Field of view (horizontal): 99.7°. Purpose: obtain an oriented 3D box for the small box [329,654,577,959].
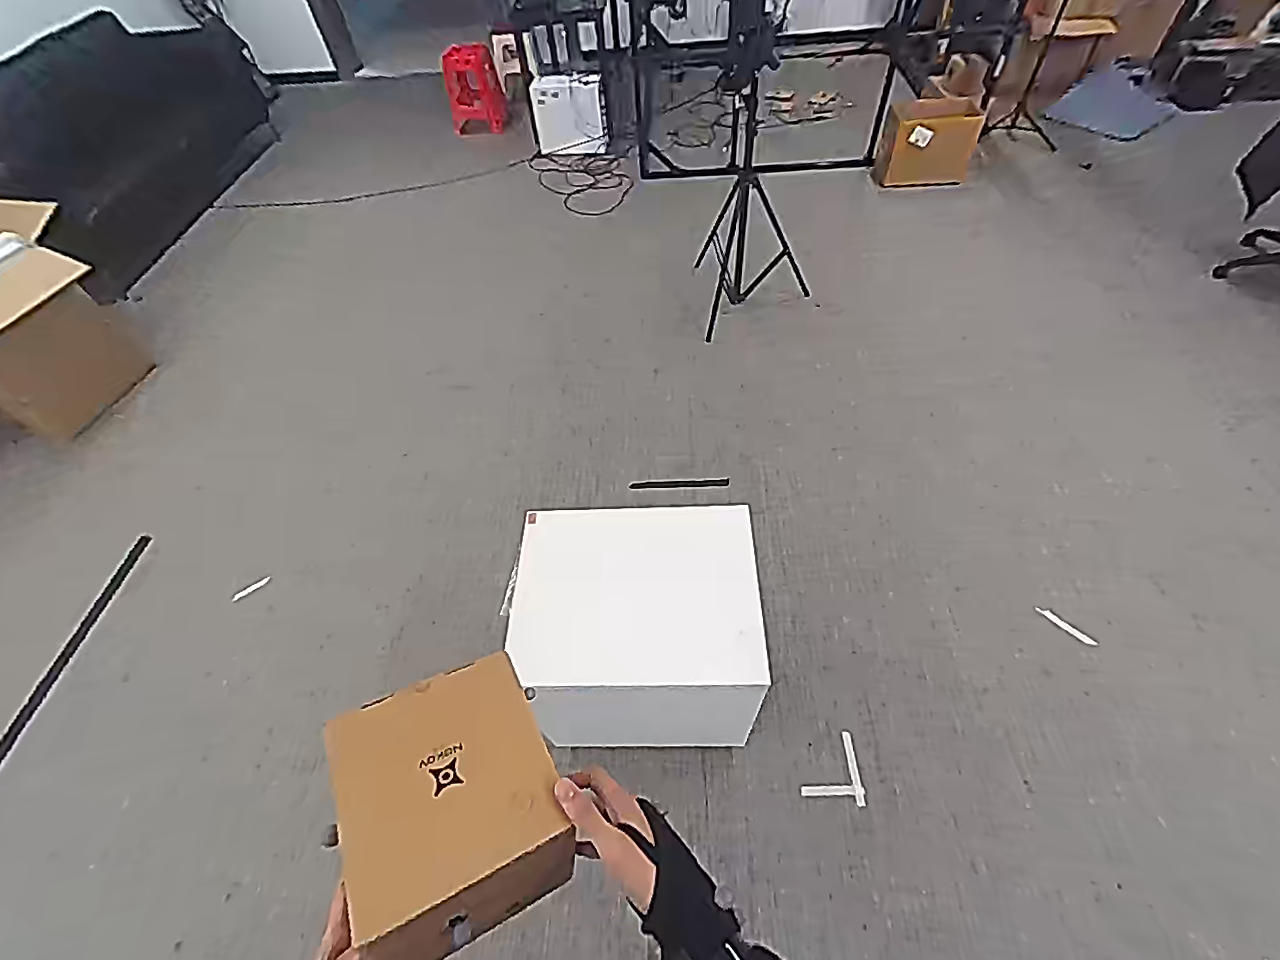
[{"bbox_3d":[-0.165,0.304,0.498,0.168,0.176,0.179,-16,45,-25],"label":"small box"}]
